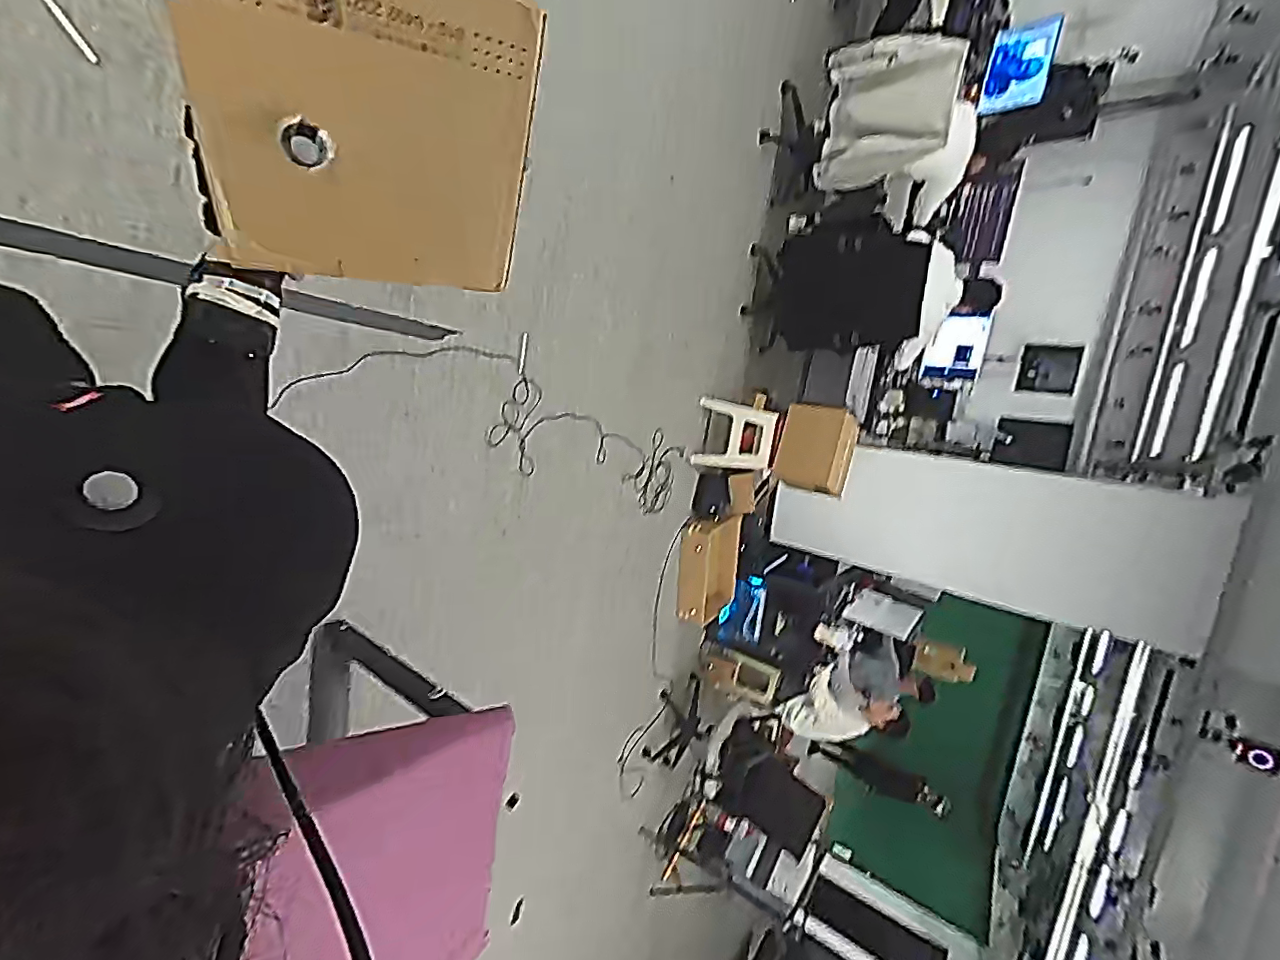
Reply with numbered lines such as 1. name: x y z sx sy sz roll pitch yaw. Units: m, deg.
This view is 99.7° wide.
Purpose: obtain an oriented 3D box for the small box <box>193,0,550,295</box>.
1. small box: -0.167 -0.246 0.345 0.168 0.179 0.176 -3 138 -30
